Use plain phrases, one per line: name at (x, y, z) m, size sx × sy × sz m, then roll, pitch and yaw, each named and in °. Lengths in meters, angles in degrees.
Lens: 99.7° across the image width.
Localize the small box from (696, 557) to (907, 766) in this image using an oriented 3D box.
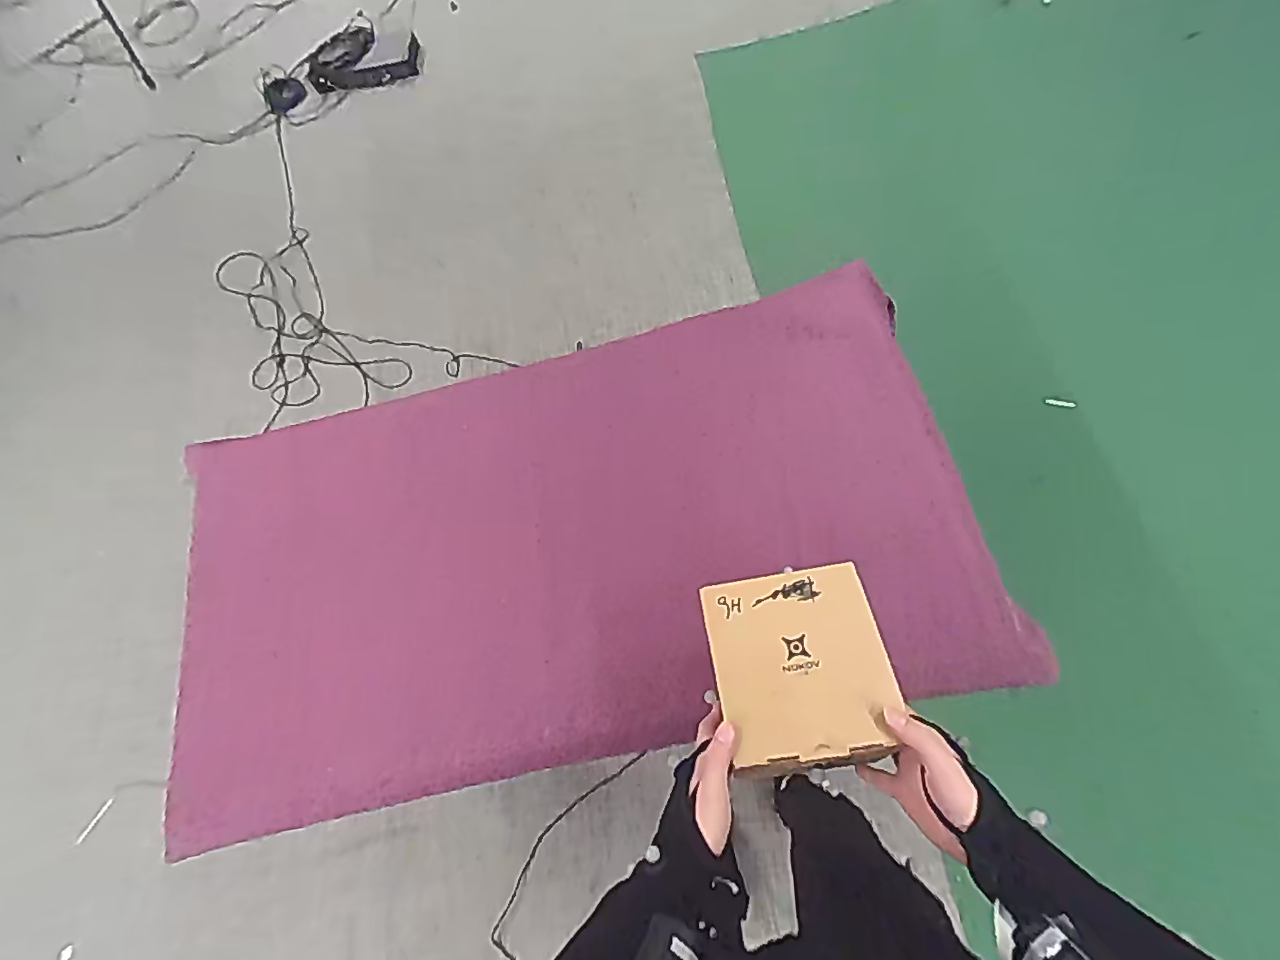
small box at (0.163, 0.208, 0.594) m, size 0.168 × 0.176 × 0.179 m, roll -11°, pitch 57°, yaw 5°
